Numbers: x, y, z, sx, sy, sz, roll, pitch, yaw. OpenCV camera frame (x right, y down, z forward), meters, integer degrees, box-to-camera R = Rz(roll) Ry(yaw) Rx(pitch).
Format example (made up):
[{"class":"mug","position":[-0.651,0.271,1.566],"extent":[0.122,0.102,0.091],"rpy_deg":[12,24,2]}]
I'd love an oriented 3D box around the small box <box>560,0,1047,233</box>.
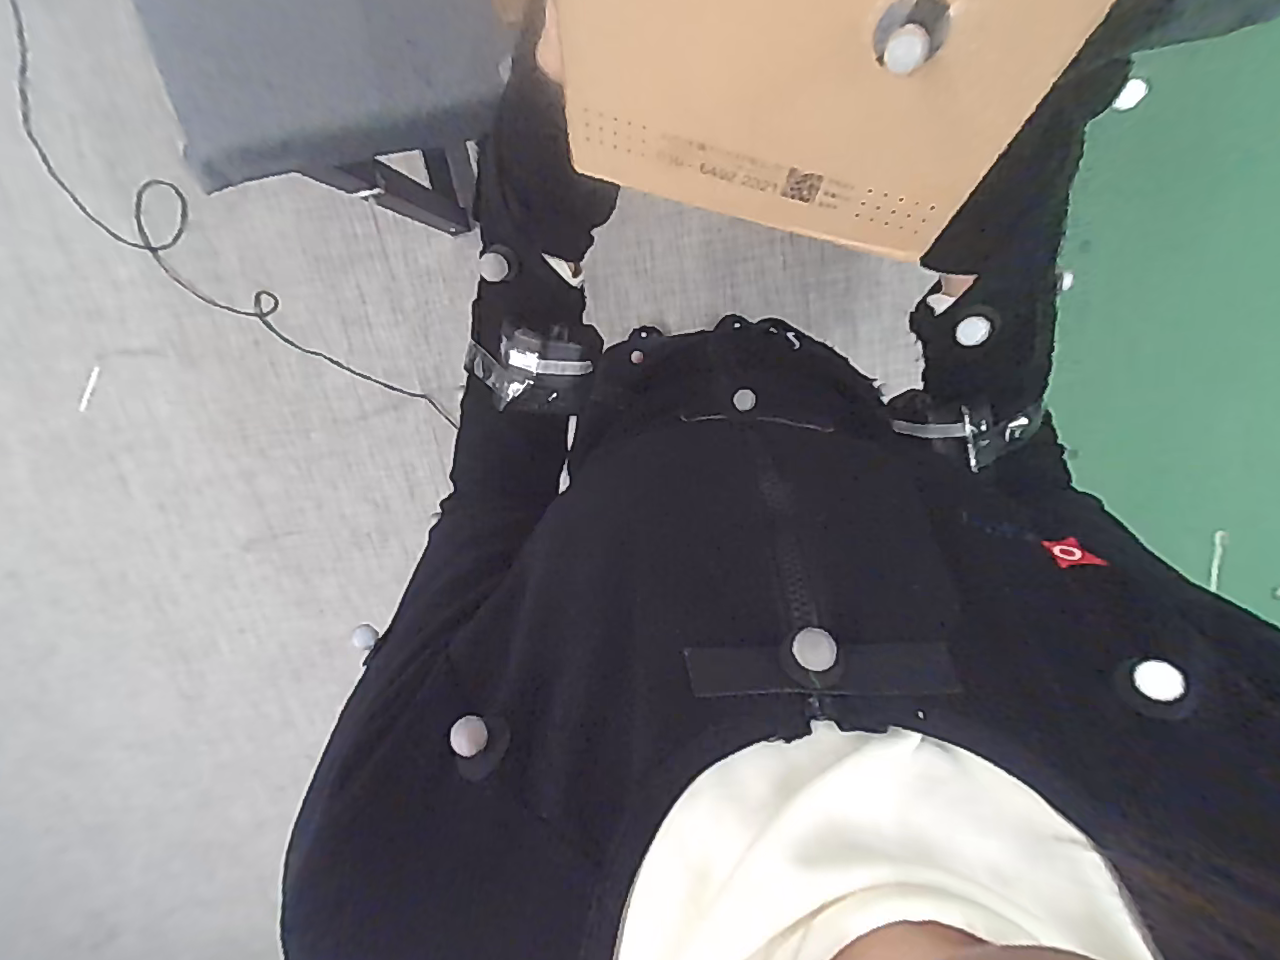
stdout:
[{"class":"small box","position":[0.070,-0.232,0.204],"extent":[0.168,0.176,0.179],"rpy_deg":[18,72,2]}]
